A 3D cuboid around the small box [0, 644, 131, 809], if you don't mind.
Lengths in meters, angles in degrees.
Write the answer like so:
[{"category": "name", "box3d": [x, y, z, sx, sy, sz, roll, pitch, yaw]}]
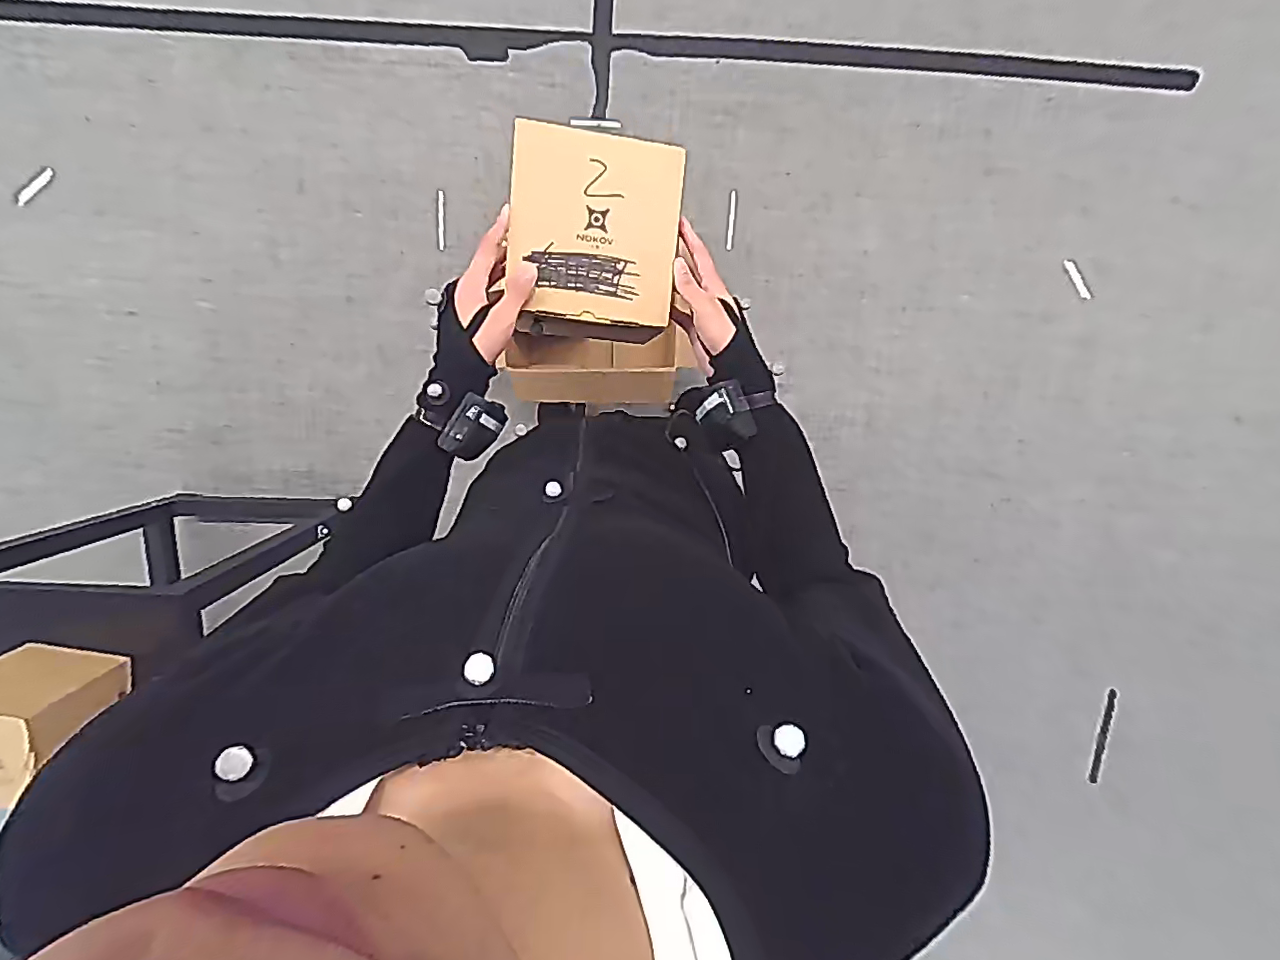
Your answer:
[{"category": "small box", "box3d": [-0.989, 0.387, 0.875, 0.179, 0.176, 0.168, 10, 103, -3]}]
